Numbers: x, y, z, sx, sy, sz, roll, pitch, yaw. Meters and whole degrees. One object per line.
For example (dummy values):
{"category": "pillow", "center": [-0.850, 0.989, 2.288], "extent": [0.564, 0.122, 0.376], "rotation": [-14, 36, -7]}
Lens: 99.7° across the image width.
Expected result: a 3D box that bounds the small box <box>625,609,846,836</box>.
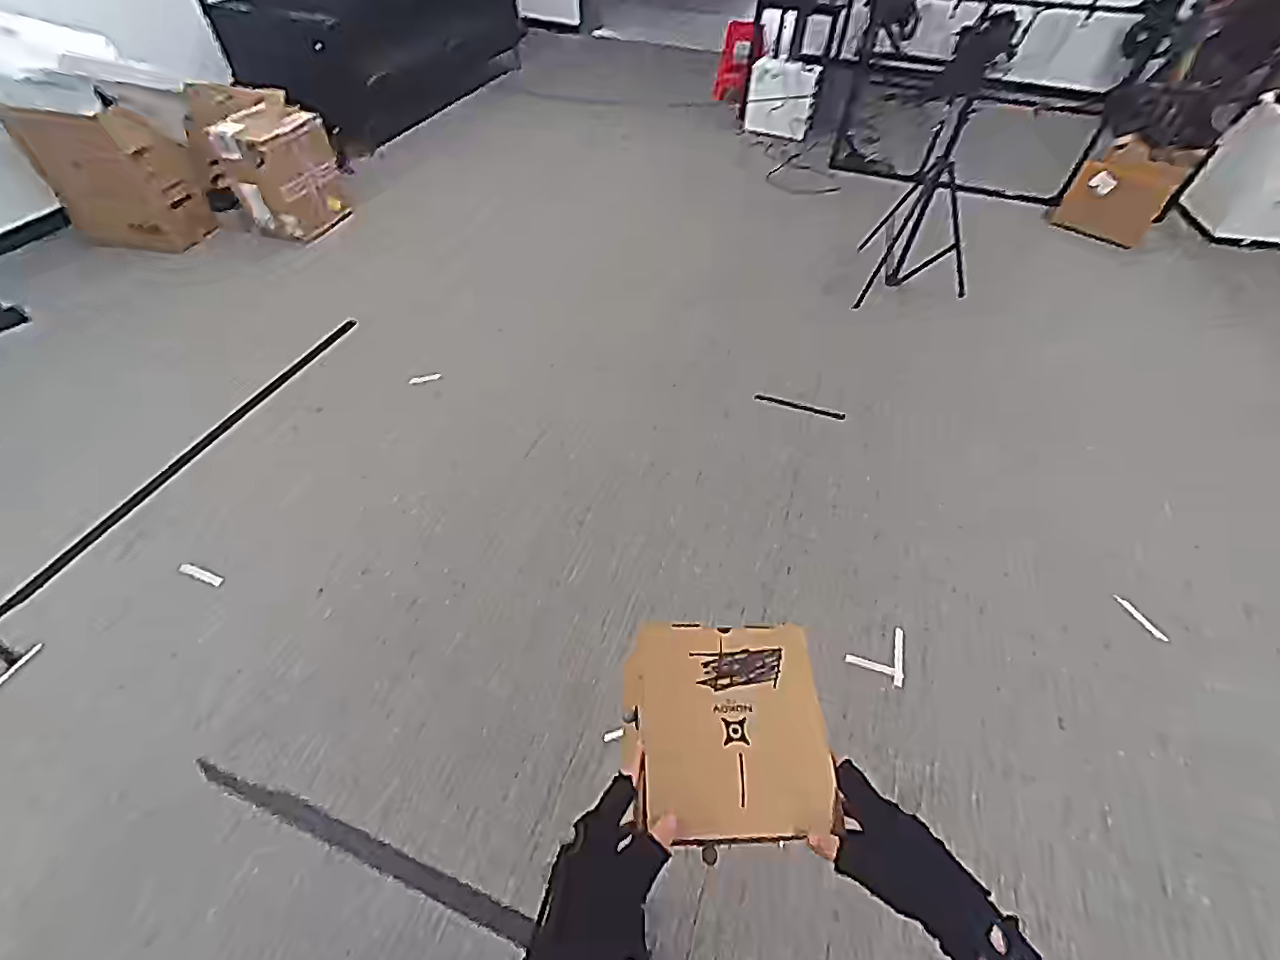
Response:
{"category": "small box", "center": [0.074, 0.245, 0.538], "extent": [0.168, 0.176, 0.179], "rotation": [3, 55, -6]}
